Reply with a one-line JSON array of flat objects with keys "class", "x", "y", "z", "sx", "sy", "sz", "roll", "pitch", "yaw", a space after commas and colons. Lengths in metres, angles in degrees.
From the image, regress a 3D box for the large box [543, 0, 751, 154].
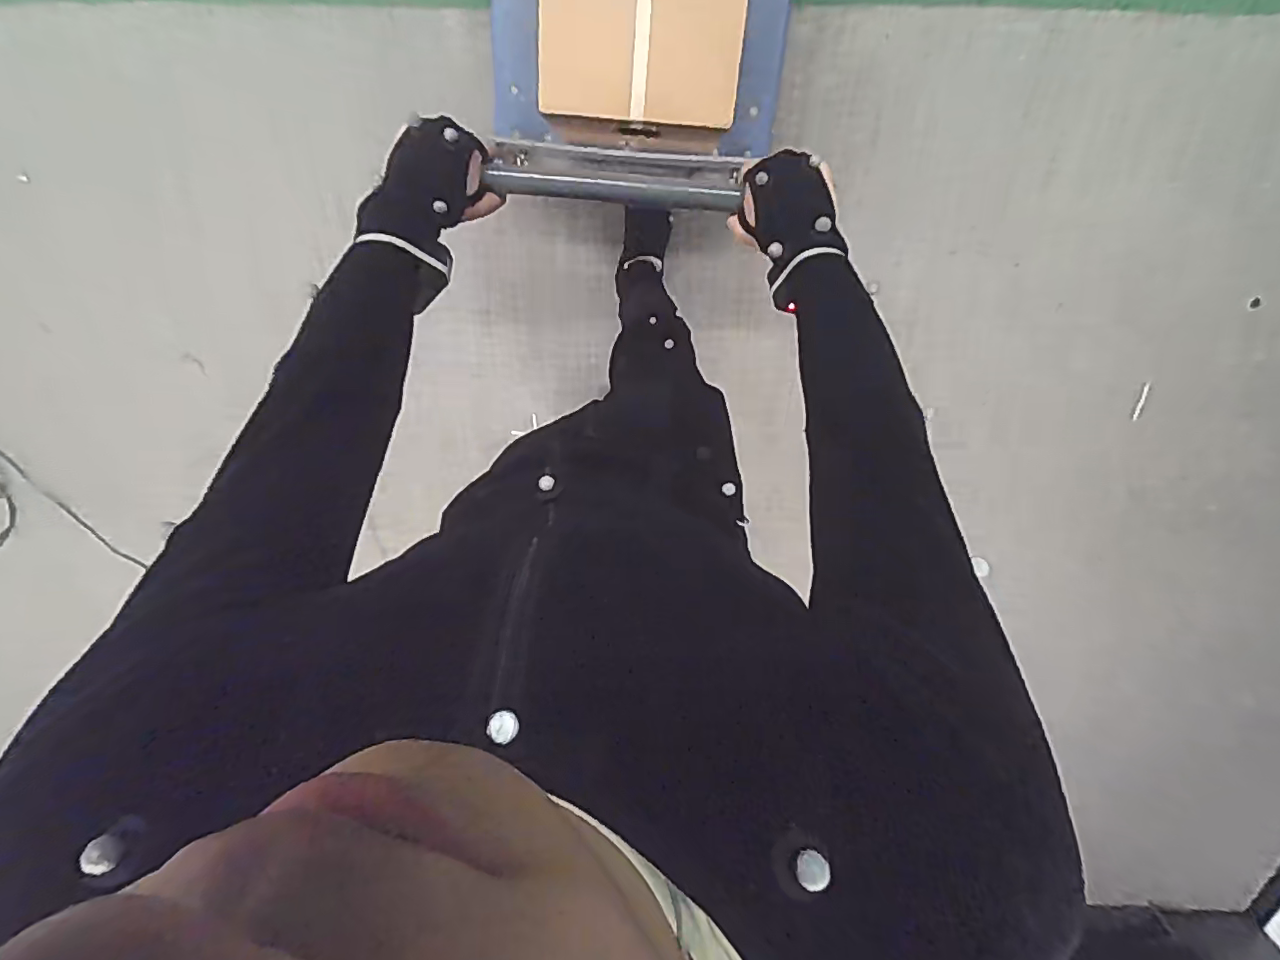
[{"class": "large box", "x": 0.017, "y": -0.819, "z": 0.926, "sx": 0.320, "sy": 0.320, "sz": 0.408, "roll": 5, "pitch": 113, "yaw": -2}]
